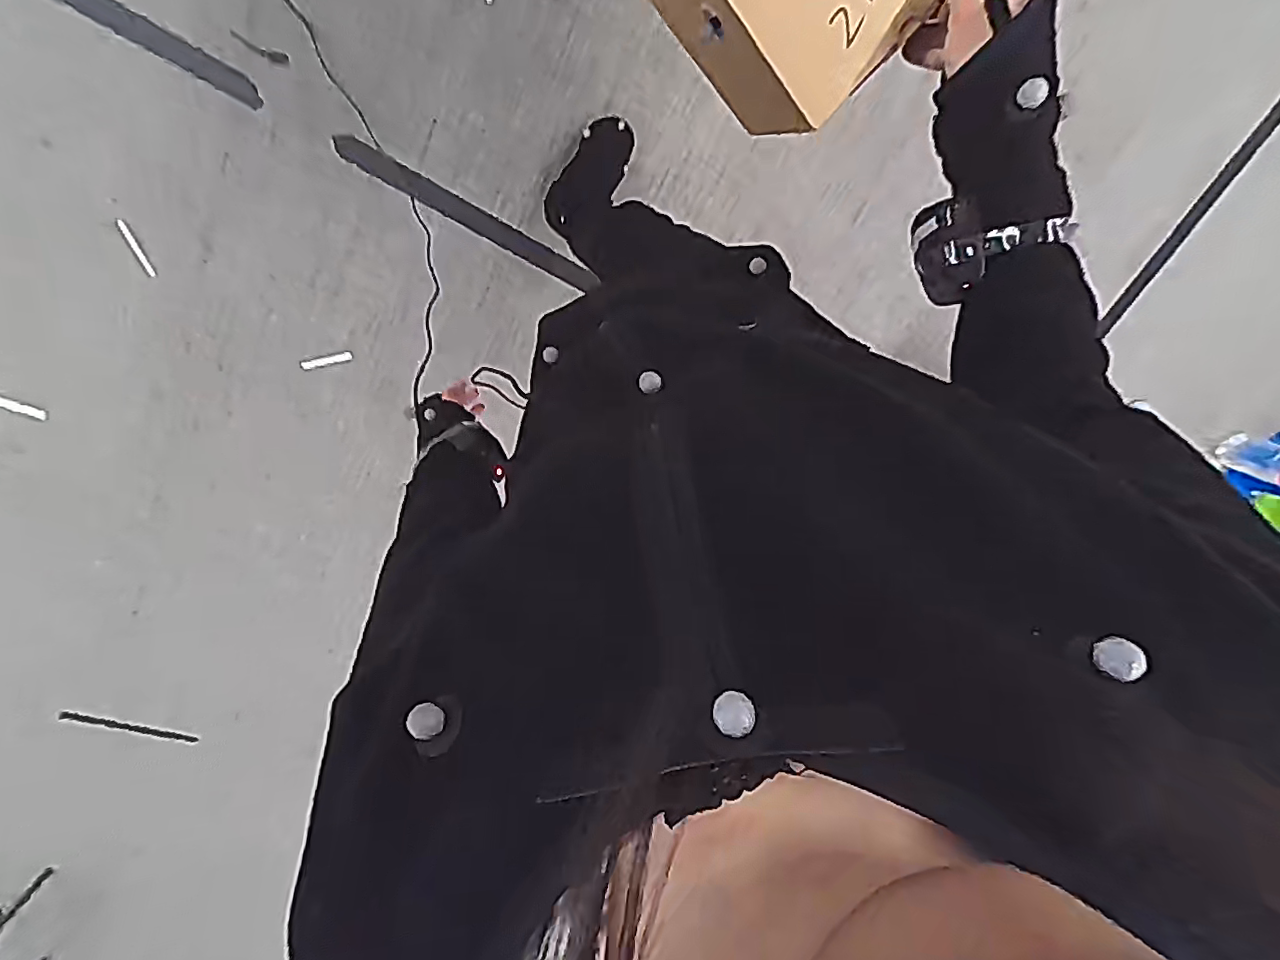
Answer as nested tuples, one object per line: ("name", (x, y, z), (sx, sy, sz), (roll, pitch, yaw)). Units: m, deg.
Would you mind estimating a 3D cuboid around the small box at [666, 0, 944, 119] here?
("small box", (0.119, -0.394, 0.390), (0.168, 0.176, 0.179), (-42, 118, 18))
